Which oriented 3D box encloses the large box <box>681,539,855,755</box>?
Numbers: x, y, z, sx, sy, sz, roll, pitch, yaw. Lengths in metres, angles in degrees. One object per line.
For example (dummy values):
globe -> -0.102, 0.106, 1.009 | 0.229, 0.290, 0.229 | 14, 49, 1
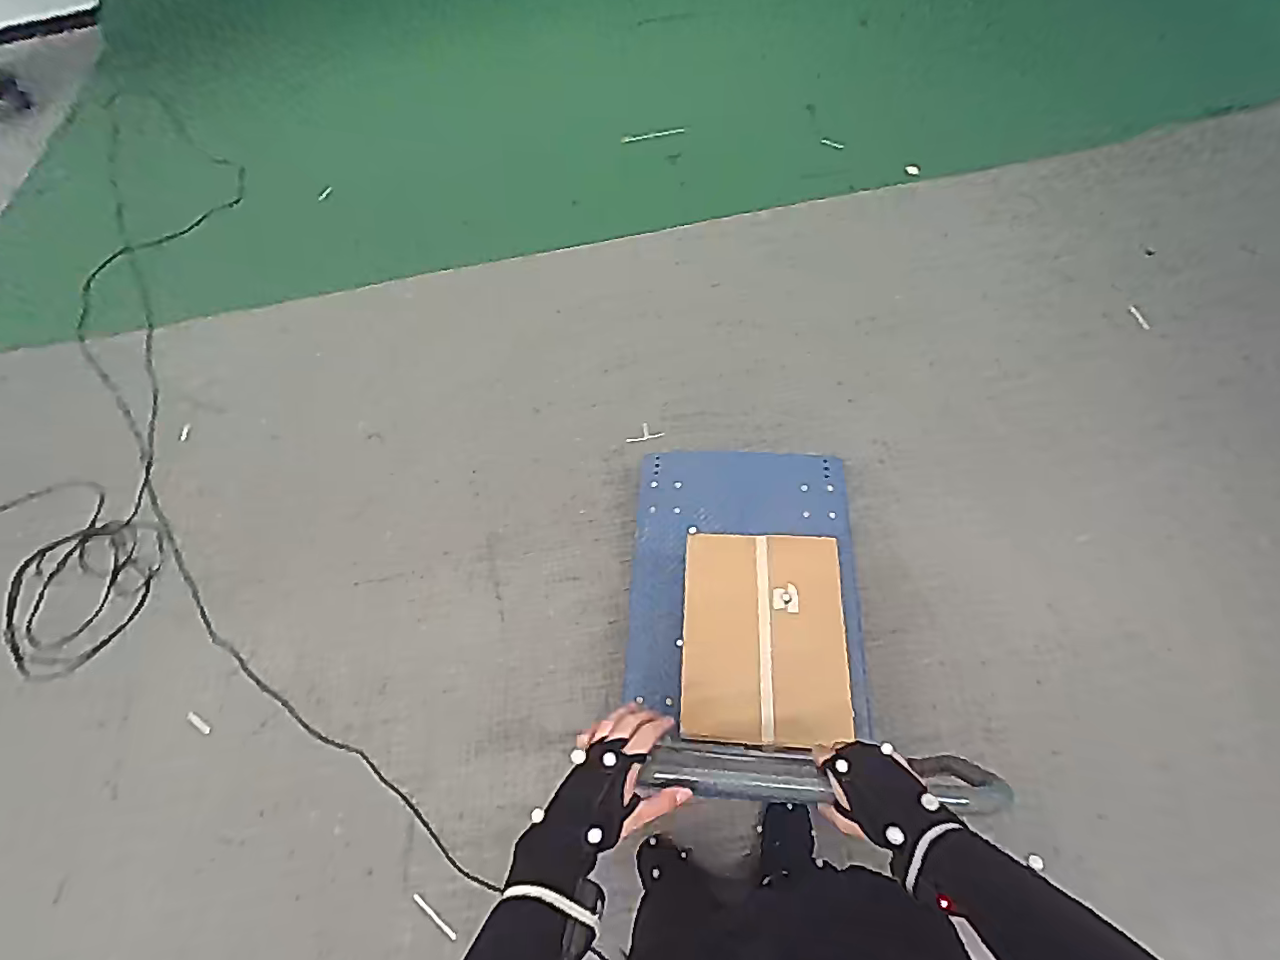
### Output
large box -> 0.256, 0.375, 1.192 | 0.320, 0.320, 0.408 | 1, 63, 6
